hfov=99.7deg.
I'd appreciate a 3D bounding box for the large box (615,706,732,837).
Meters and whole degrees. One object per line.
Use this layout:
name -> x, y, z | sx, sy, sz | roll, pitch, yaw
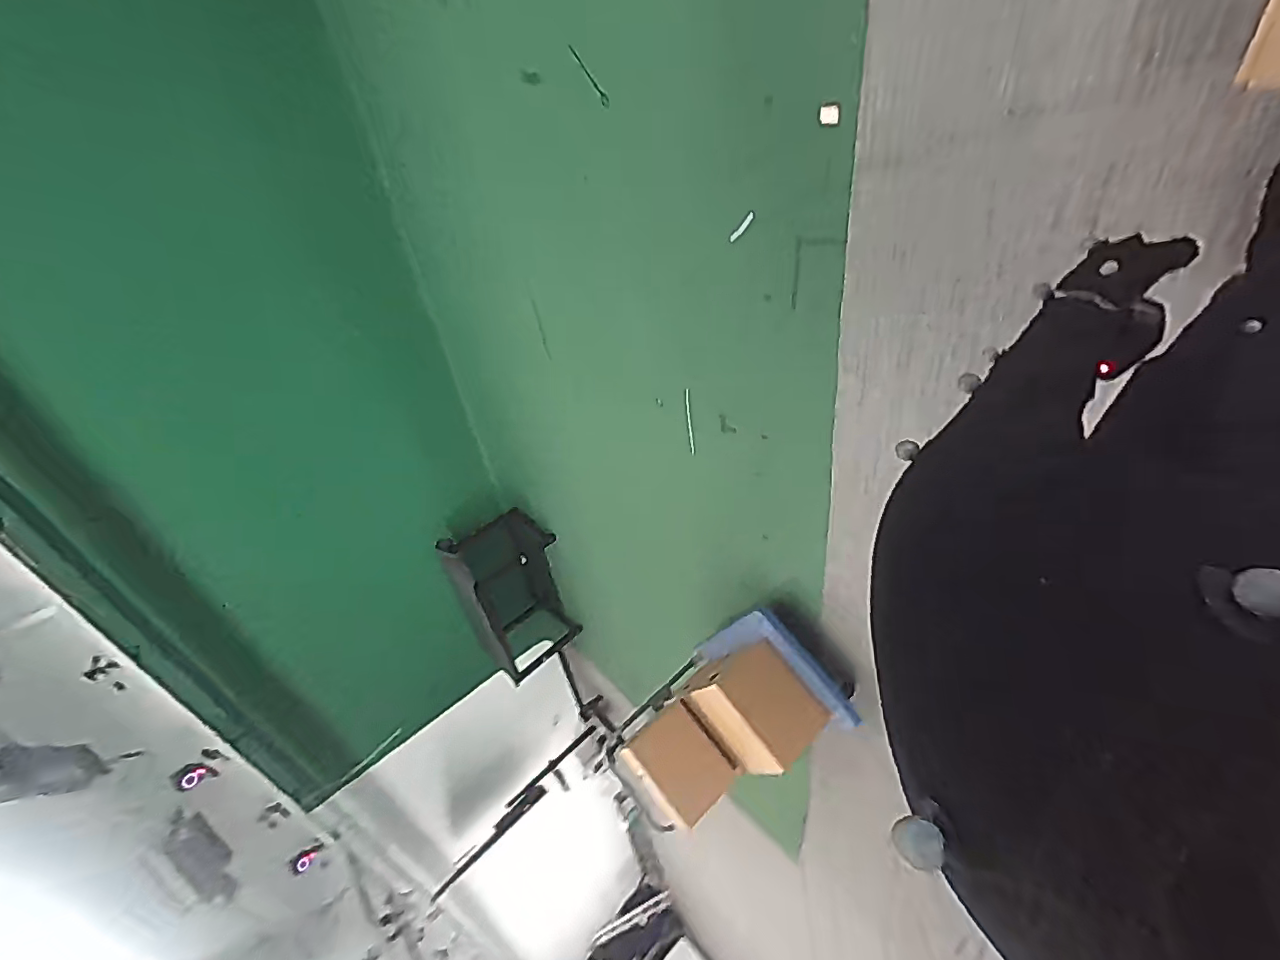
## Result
large box -> 0.143, 1.292, 2.423 | 0.408, 0.320, 0.320 | 50, 155, 16
